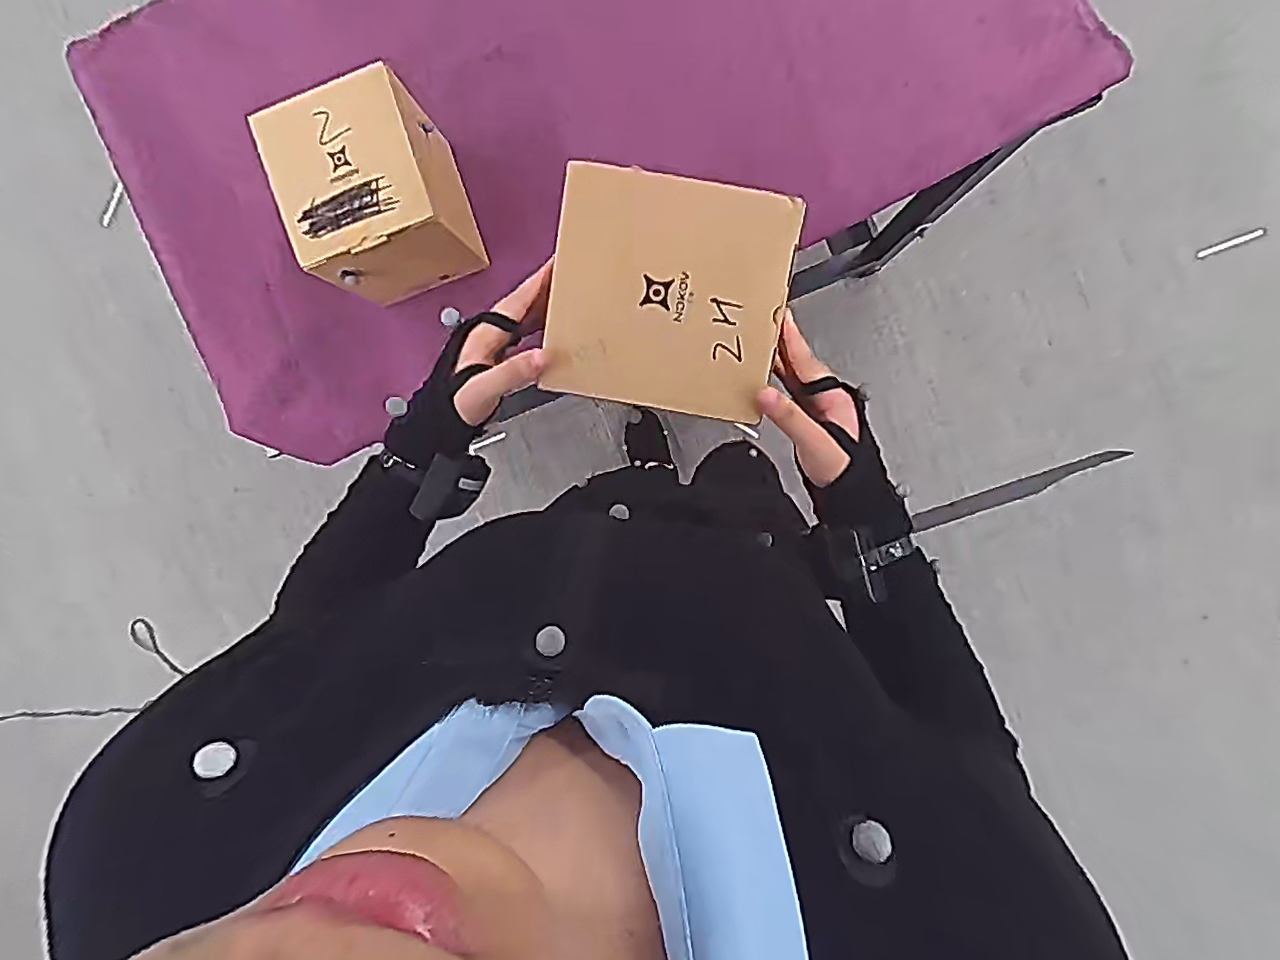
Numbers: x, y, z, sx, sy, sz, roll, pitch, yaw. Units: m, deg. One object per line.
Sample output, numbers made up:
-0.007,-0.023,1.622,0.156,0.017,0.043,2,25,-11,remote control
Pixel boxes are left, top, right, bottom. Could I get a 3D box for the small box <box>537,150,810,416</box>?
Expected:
0.024,-0.152,0.472,0.179,0.176,0.168,10,99,-1,small box
